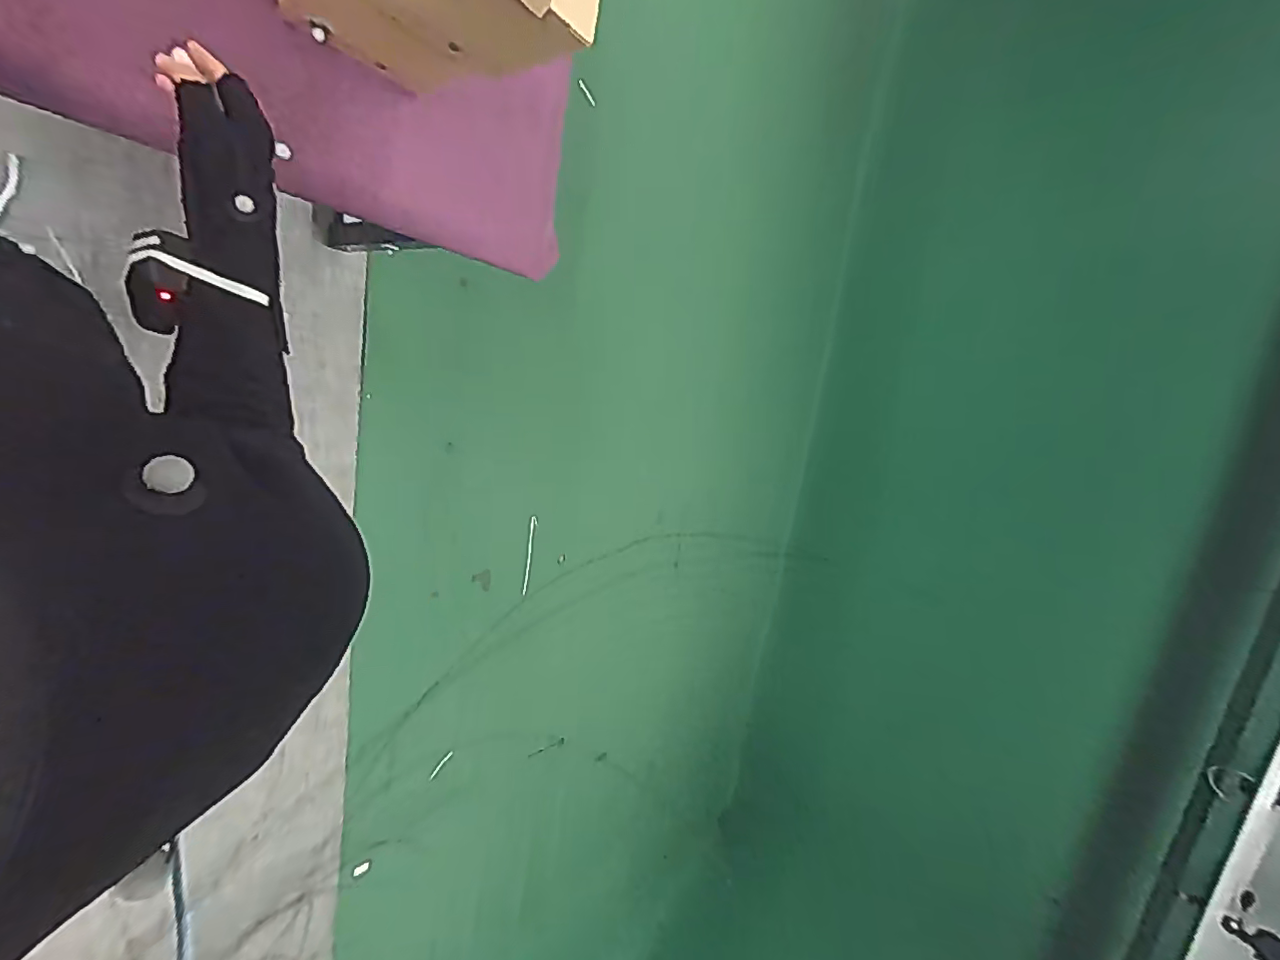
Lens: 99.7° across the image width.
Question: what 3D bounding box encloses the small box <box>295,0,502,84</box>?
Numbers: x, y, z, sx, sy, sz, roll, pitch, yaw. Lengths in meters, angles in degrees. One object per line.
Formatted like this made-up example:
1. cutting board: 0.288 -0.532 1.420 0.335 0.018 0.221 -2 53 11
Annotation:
1. small box: -0.264 -0.574 0.588 0.168 0.176 0.179 2 103 -54
